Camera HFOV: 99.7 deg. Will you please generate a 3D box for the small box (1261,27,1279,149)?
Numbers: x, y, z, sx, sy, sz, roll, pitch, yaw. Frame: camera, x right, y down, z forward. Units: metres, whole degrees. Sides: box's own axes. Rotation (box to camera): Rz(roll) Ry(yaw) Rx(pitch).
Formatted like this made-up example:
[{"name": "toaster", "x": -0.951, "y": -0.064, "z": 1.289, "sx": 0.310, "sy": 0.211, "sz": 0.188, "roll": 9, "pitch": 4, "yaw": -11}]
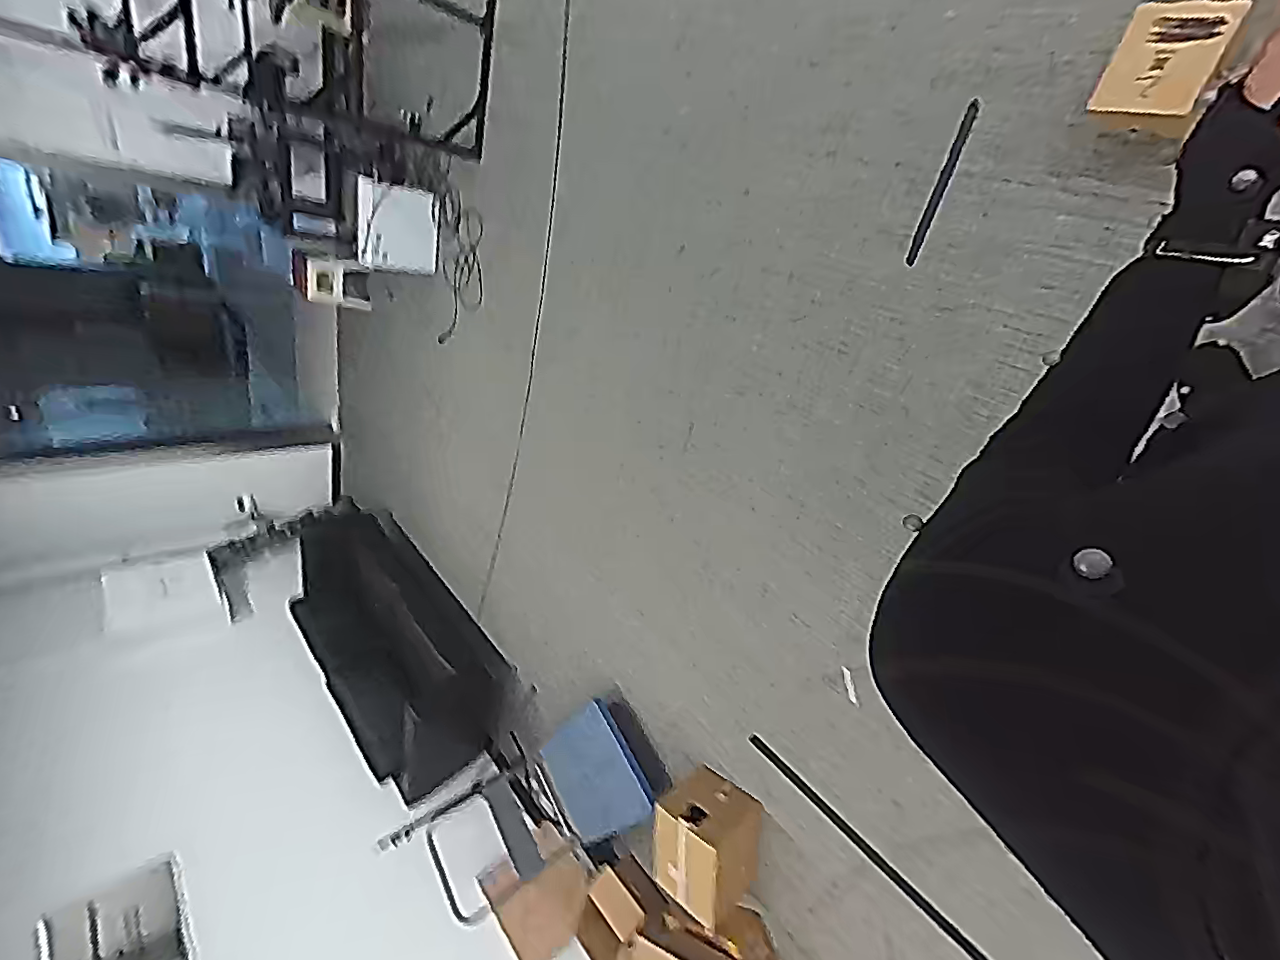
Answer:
[{"name": "small box", "x": 0.612, "y": -0.364, "z": 0.401, "sx": 0.179, "sy": 0.176, "sz": 0.168, "roll": 8, "pitch": 118, "yaw": 44}]
